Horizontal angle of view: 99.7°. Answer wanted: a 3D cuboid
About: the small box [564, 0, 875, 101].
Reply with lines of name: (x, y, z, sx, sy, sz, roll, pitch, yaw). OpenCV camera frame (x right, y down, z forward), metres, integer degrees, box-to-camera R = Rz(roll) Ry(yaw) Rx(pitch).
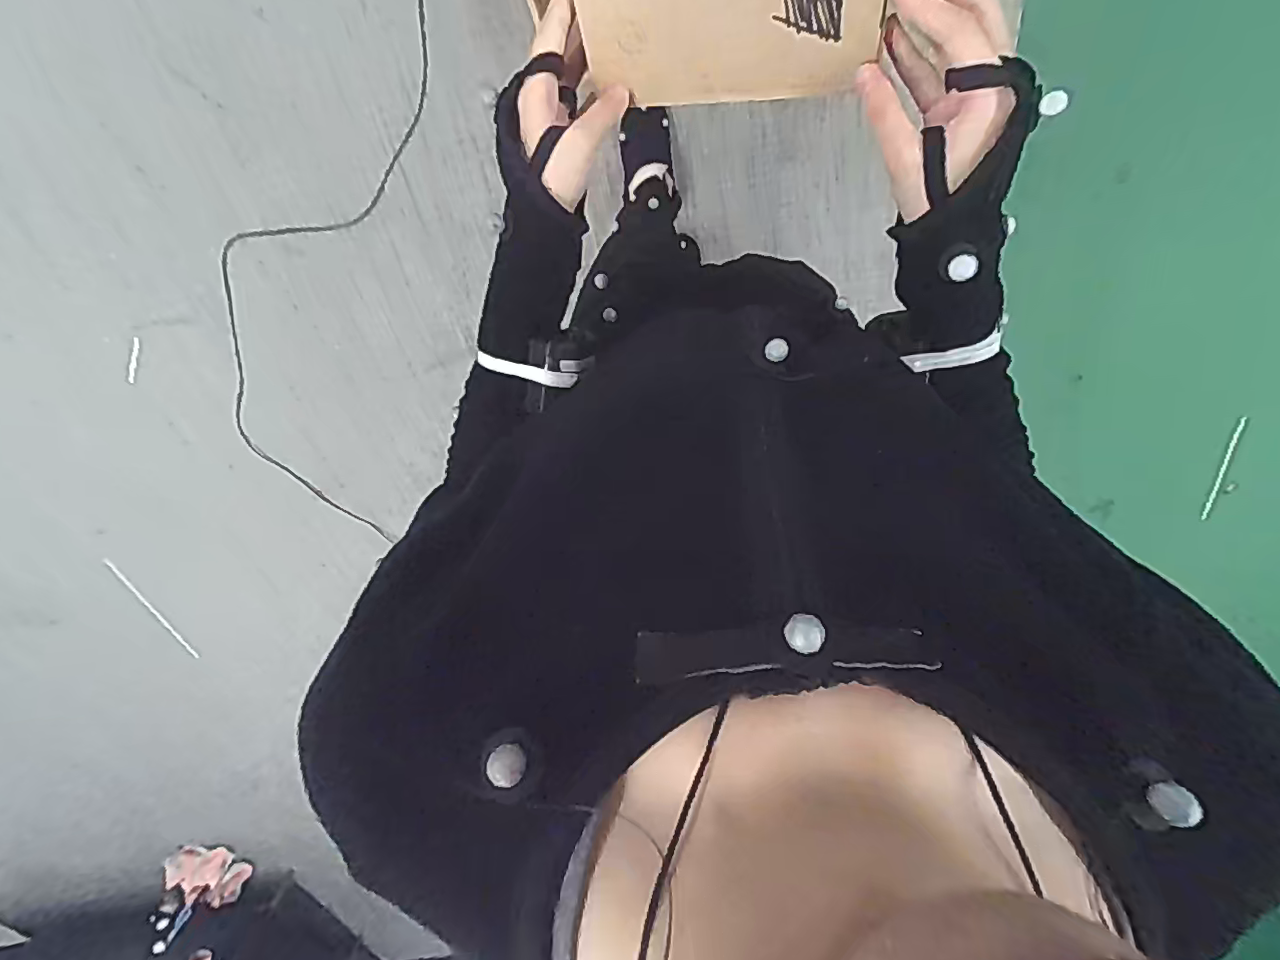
small box: (0.054, -0.351, 0.306, 0.179, 0.176, 0.168, 10, 154, 17)
